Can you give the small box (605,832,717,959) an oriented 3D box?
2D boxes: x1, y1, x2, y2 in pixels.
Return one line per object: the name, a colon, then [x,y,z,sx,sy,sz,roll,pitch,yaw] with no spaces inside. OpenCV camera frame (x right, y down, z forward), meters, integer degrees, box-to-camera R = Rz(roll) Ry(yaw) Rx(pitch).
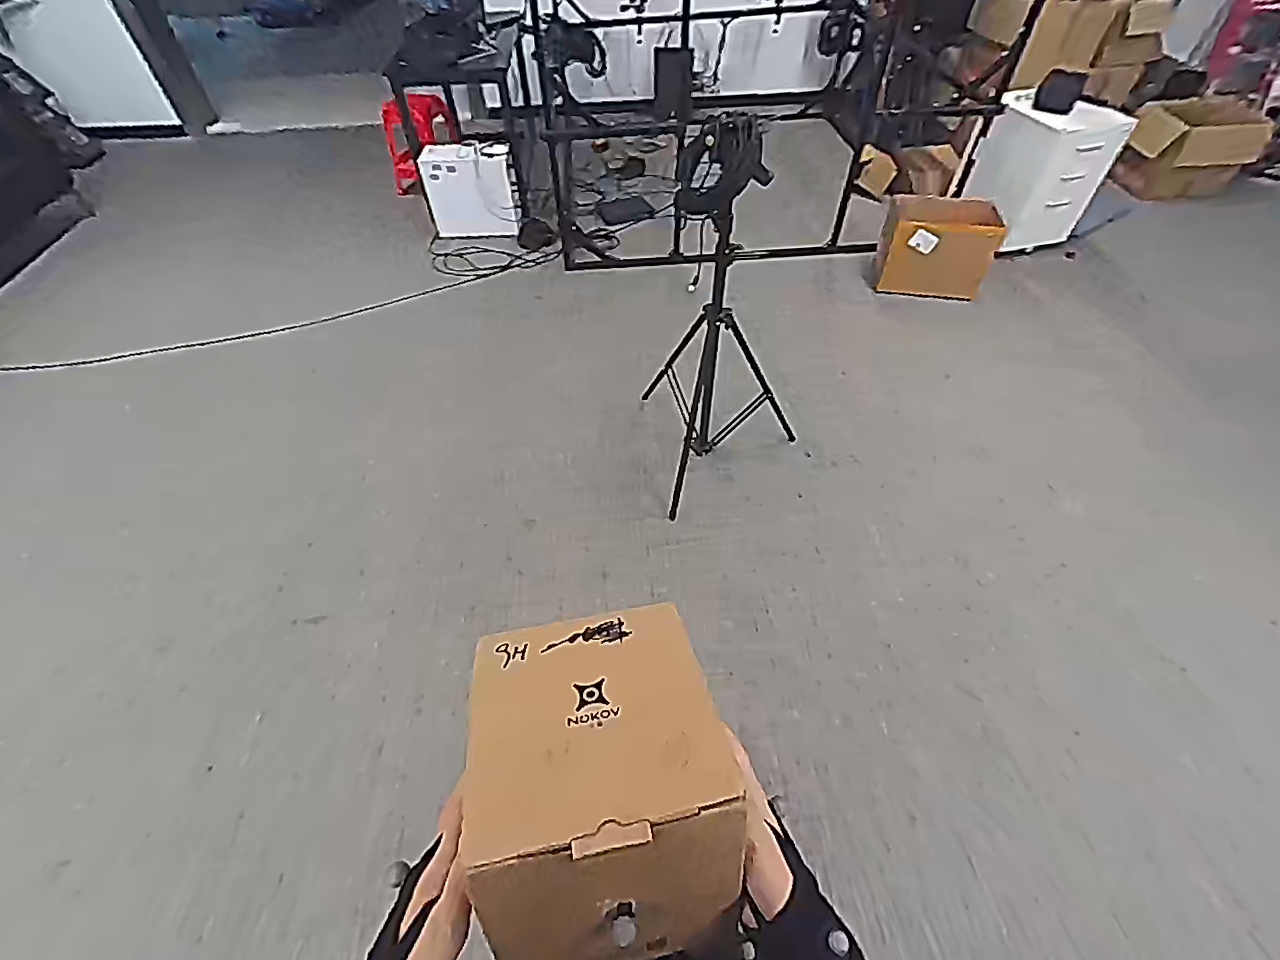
small box: [0.035,0.755,0.981,0.179,0.176,0.168,-6,52,-3]
